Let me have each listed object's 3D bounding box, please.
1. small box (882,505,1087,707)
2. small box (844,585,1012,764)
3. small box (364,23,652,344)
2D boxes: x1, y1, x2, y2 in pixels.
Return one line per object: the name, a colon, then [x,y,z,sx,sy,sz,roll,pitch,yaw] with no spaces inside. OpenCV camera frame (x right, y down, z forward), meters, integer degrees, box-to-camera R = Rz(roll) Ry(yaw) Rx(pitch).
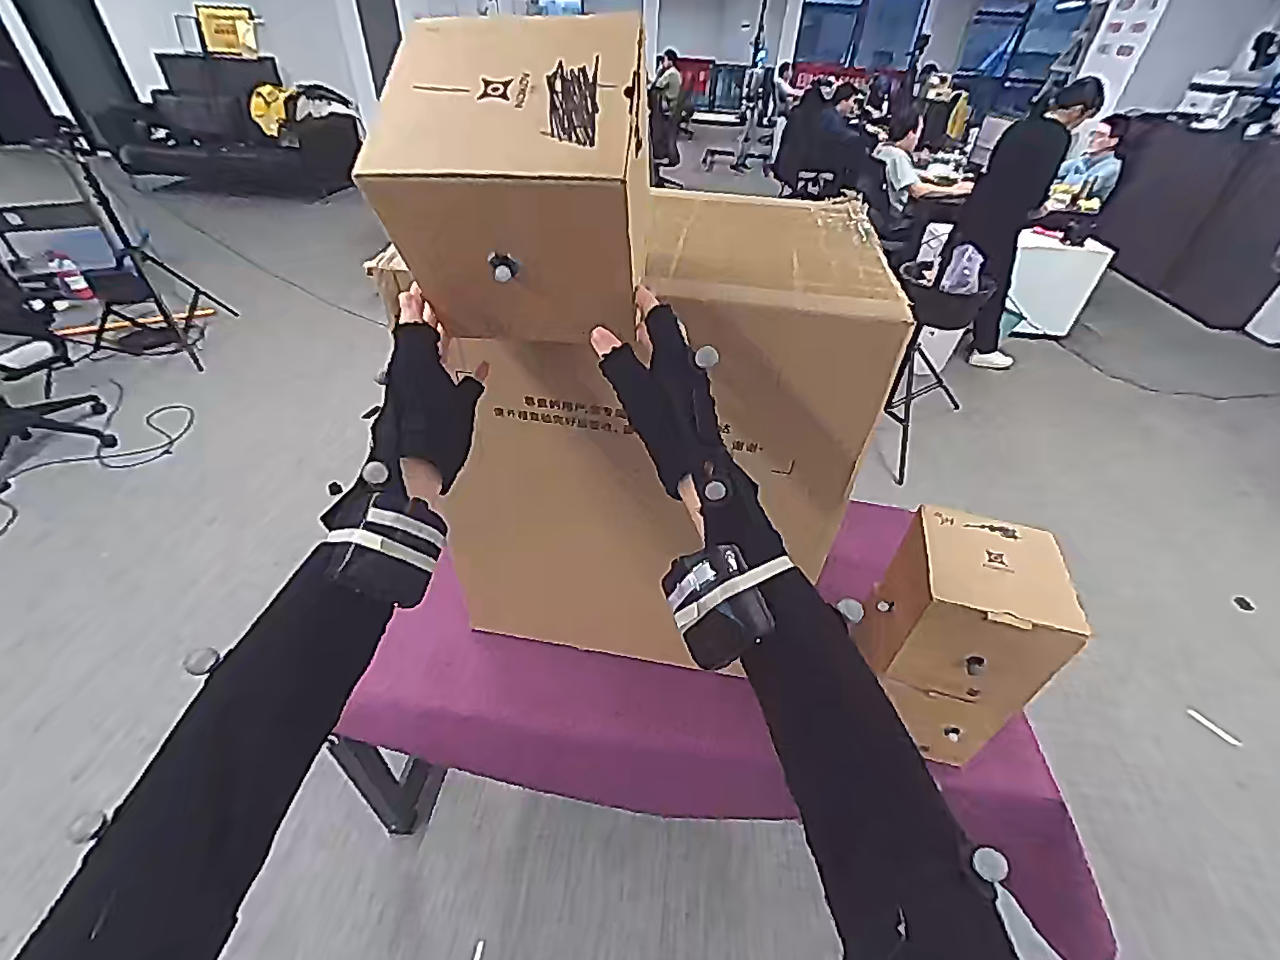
small box: [0.432,0.166,0.715,0.168,0.176,0.179,14,41,12]
small box: [0.416,0.294,0.818,0.168,0.176,0.179,12,39,9]
small box: [-0.082,-0.227,0.443,0.179,0.176,0.168,3,68,4]
